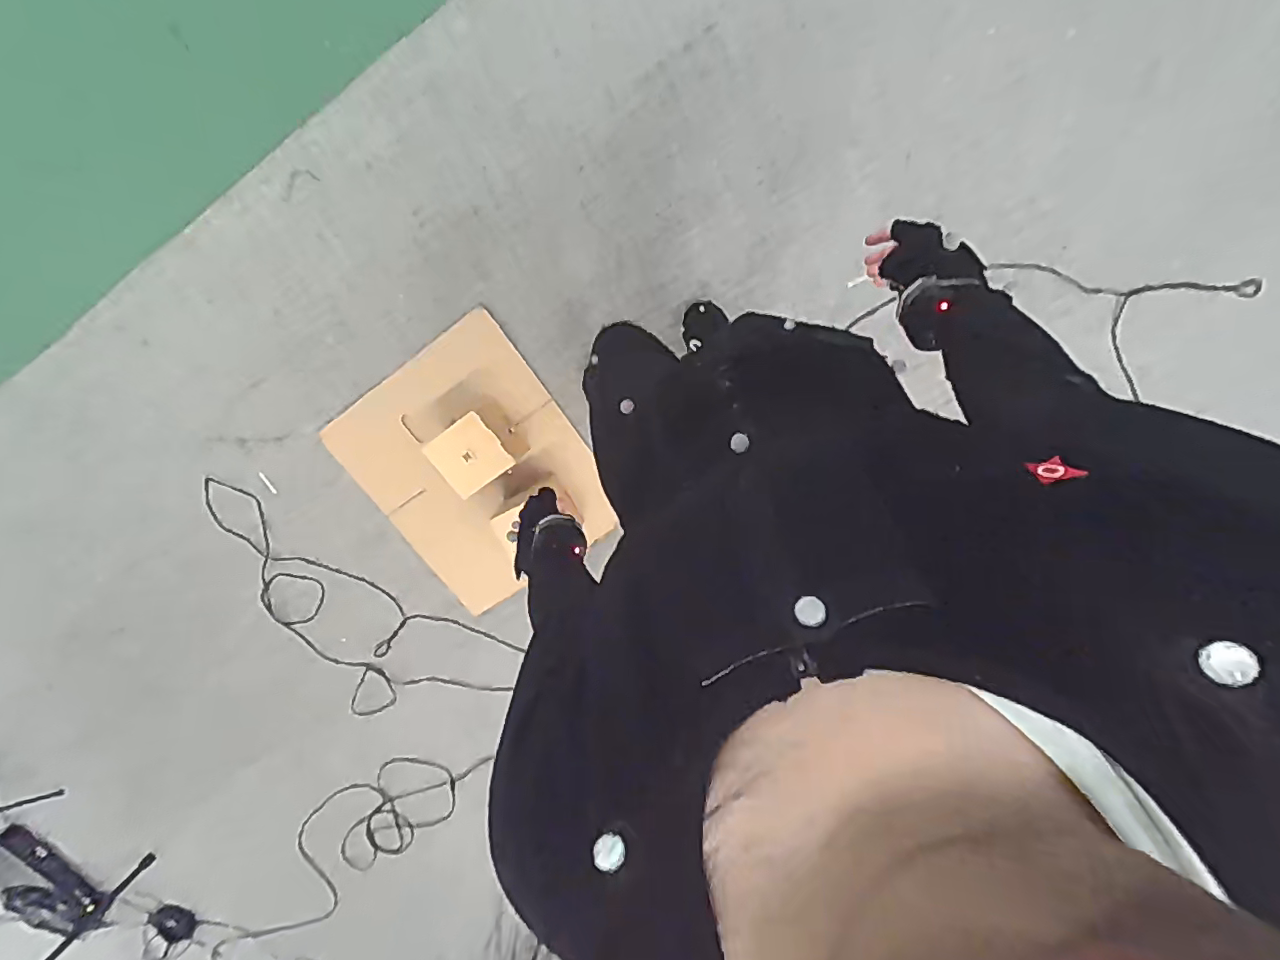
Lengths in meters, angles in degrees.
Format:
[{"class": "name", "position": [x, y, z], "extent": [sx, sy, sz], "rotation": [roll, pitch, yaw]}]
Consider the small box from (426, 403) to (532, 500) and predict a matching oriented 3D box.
[{"class": "small box", "position": [-0.409, -0.079, 1.406], "extent": [0.179, 0.176, 0.168], "rotation": [-35, 103, 11]}]
